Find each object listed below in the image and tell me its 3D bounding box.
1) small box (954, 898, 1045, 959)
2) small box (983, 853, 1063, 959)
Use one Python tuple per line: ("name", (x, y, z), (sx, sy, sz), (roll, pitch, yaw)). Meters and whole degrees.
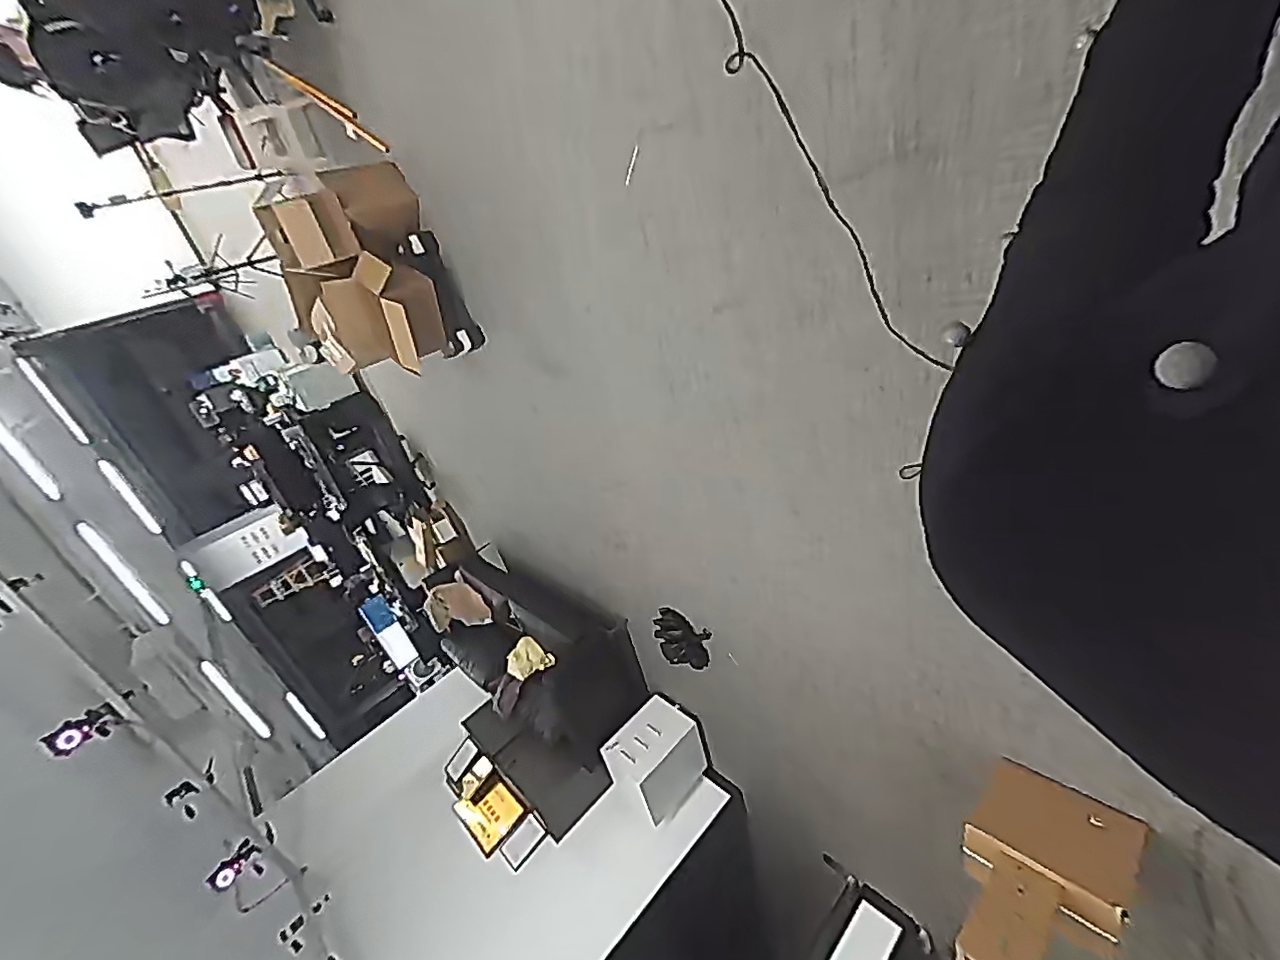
("small box", (1.048, 1.376, 1.577), (0.179, 0.176, 0.168), (13, 128, 50))
("small box", (1.173, 1.305, 1.658), (0.168, 0.176, 0.179), (13, 128, 48))
